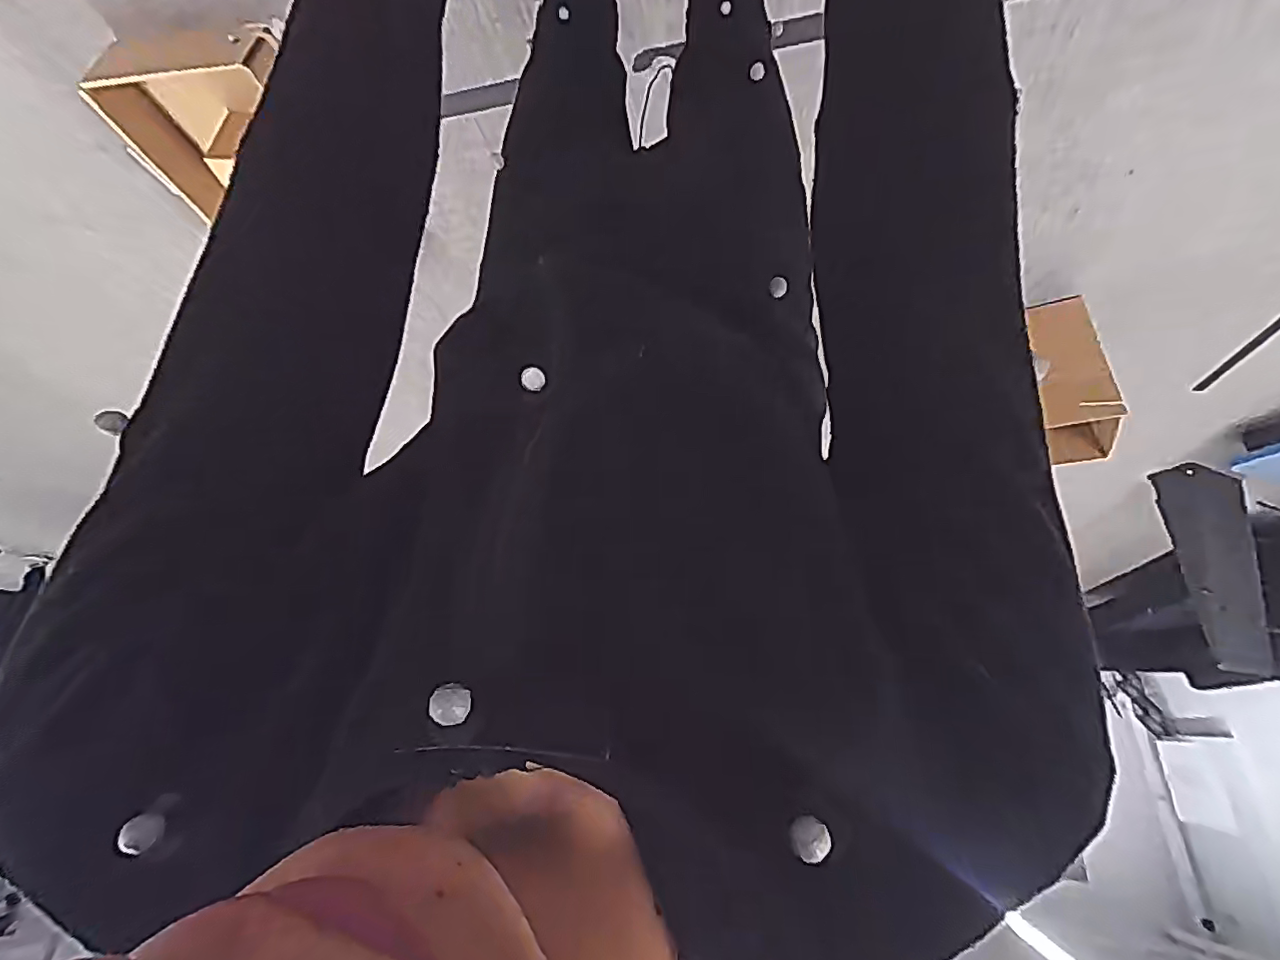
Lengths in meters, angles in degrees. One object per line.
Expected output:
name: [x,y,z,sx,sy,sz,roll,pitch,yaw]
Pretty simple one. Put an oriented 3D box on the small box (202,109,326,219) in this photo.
small box: [-0.888,-0.760,1.301,0.179,0.176,0.168,2,156,0]
